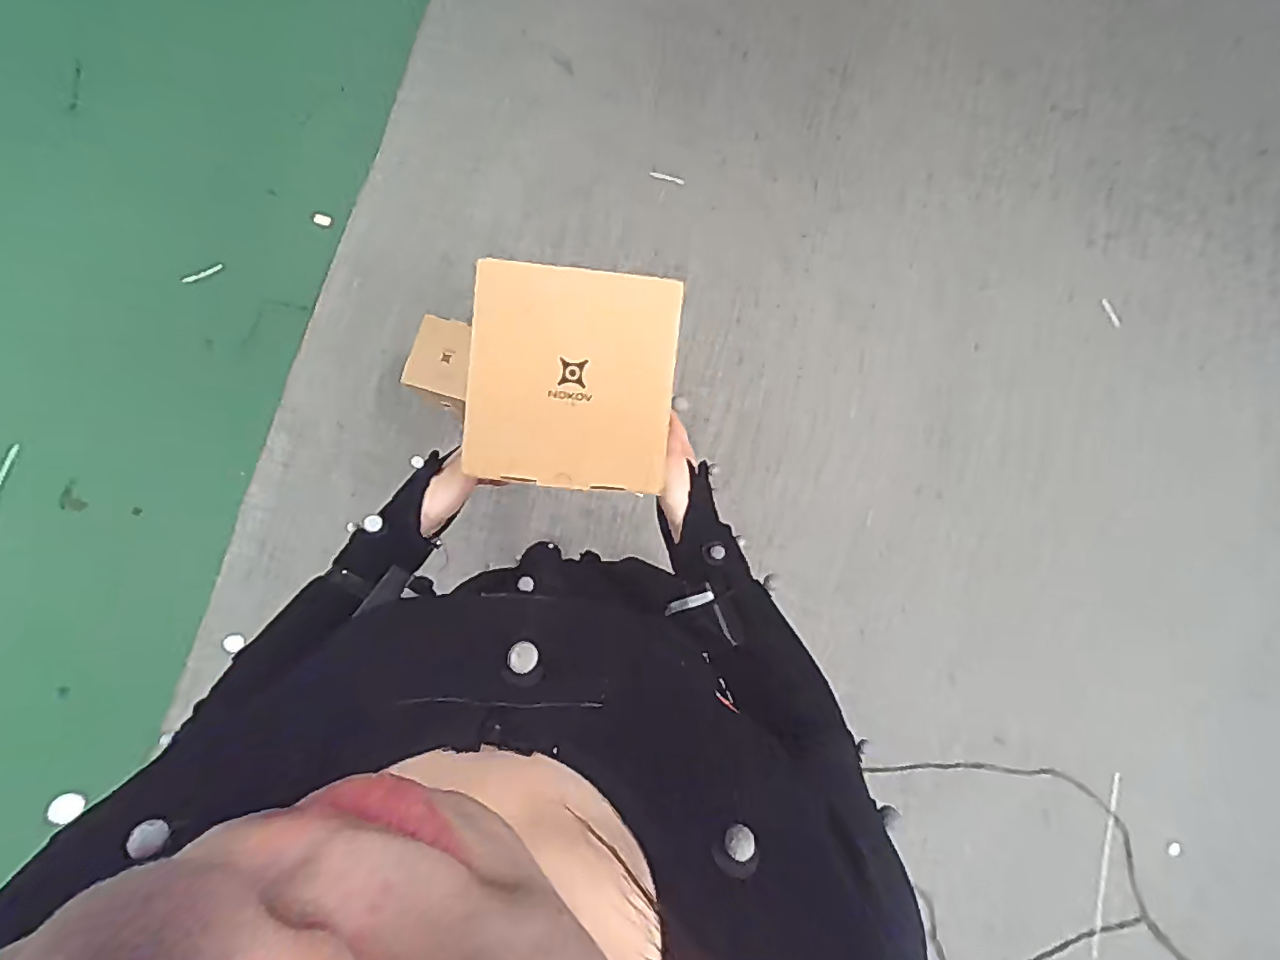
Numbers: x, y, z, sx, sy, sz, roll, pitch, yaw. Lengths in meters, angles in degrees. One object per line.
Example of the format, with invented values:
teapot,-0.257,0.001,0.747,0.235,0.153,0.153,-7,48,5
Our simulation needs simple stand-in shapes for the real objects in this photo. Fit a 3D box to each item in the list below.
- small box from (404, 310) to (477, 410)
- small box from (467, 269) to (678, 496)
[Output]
small box,-0.440,-0.282,1.322,0.168,0.176,0.179,16,84,1
small box,-0.061,-0.087,0.530,0.168,0.176,0.179,5,96,-3
